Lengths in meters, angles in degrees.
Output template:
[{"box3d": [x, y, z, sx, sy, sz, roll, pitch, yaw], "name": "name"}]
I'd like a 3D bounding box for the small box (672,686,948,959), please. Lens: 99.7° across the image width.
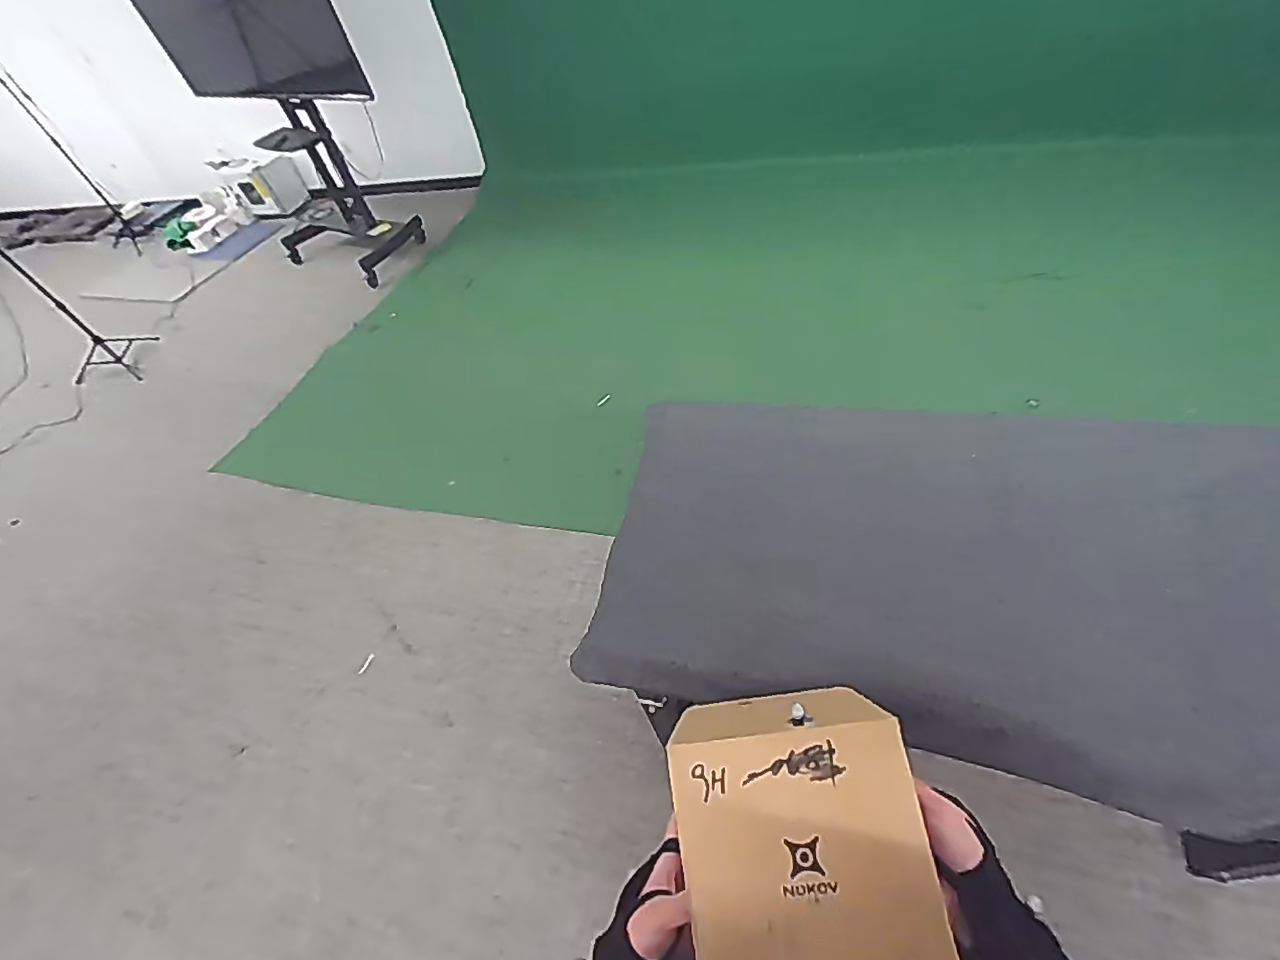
[{"box3d": [0.126, 0.285, 0.451, 0.168, 0.176, 0.179, -10, 77, 7], "name": "small box"}]
